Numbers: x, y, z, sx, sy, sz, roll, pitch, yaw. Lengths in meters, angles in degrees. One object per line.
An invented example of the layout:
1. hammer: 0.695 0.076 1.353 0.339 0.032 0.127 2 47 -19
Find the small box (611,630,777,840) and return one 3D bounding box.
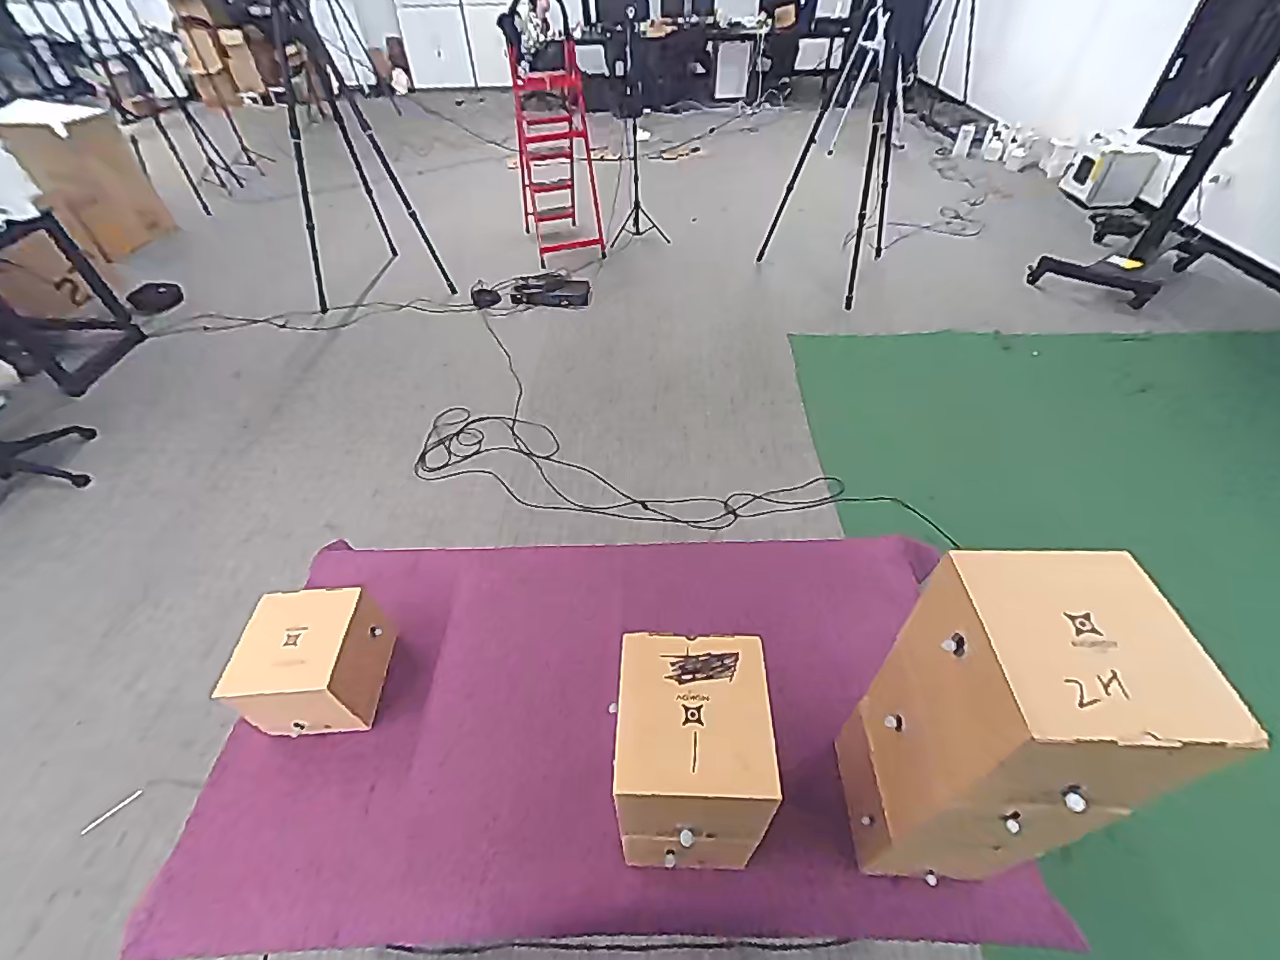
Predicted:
1. small box: 0.058 0.300 0.639 0.168 0.176 0.179 0 45 3

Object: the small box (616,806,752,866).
1. small box: 0.060 0.418 0.753 0.168 0.176 0.179 0 44 3

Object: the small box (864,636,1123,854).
1. small box: 0.374 0.302 0.620 0.168 0.176 0.179 1 45 4

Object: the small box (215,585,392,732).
1. small box: -0.534 0.295 0.893 0.168 0.176 0.179 -3 47 -1

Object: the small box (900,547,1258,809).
1. small box: 0.368 0.183 0.505 0.168 0.176 0.179 0 46 4
